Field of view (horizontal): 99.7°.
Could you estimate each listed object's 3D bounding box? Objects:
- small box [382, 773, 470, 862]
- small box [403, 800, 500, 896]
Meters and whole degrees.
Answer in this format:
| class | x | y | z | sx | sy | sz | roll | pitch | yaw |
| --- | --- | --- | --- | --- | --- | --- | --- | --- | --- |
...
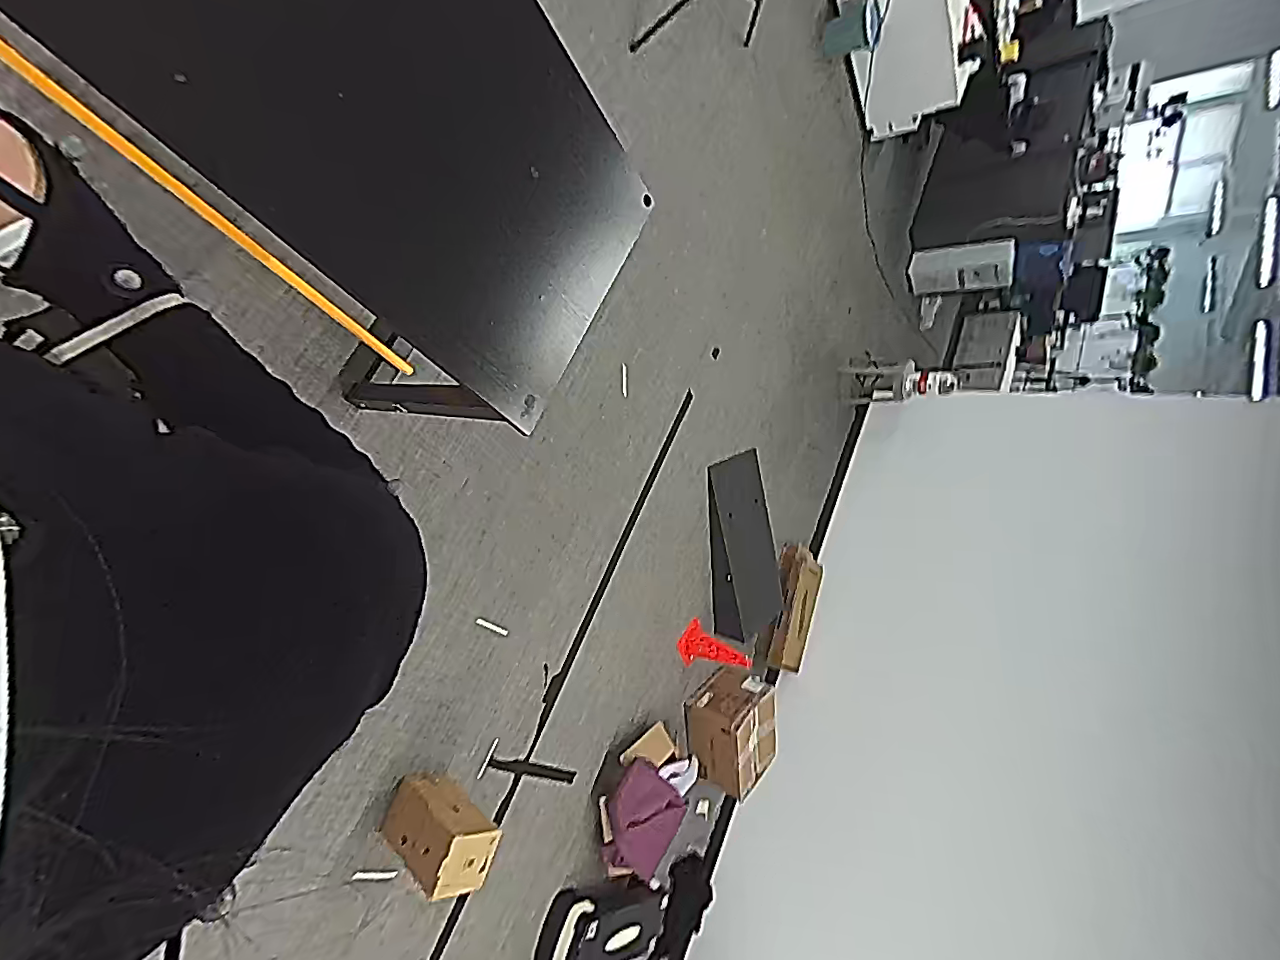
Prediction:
| class | x | y | z | sx | sy | sz | roll | pitch | yaw |
| --- | --- | --- | --- | --- | --- | --- | --- | --- | --- |
| small box | -0.671 | 1.042 | 1.680 | 0.168 | 0.176 | 0.179 | 36 | 70 | -47 |
| small box | -0.550 | 1.057 | 1.570 | 0.179 | 0.176 | 0.168 | 34 | 72 | -47 |
